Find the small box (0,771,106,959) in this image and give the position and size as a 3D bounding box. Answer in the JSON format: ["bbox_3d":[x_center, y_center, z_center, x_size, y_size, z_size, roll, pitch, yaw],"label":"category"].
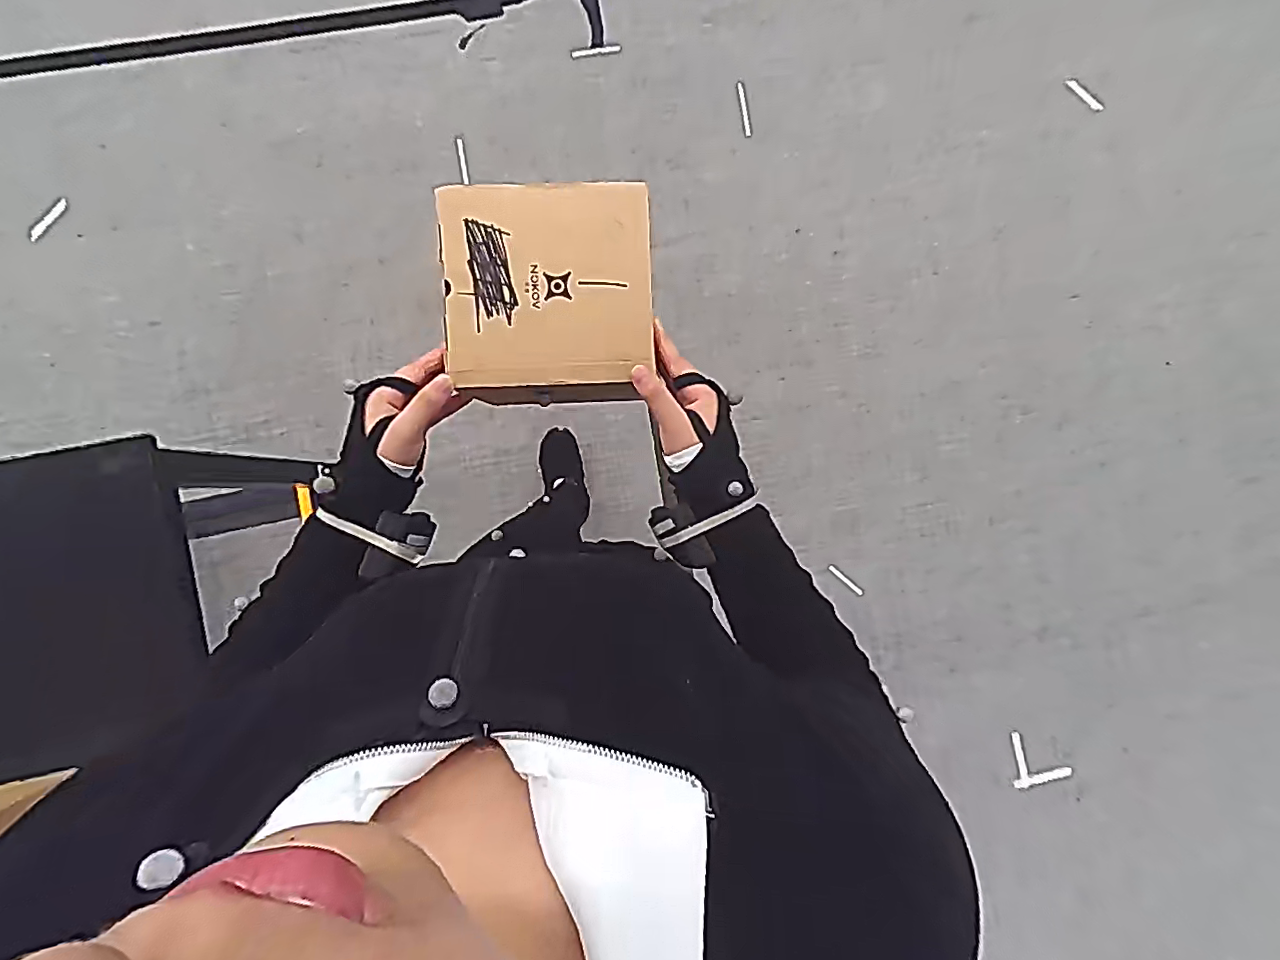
[{"bbox_3d":[-0.796,0.475,0.627,0.179,0.176,0.168,-12,91,-4],"label":"small box"}]

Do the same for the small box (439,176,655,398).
[{"bbox_3d":[-0.079,-0.171,0.528,0.179,0.176,0.168,-2,93,-3],"label":"small box"}]
